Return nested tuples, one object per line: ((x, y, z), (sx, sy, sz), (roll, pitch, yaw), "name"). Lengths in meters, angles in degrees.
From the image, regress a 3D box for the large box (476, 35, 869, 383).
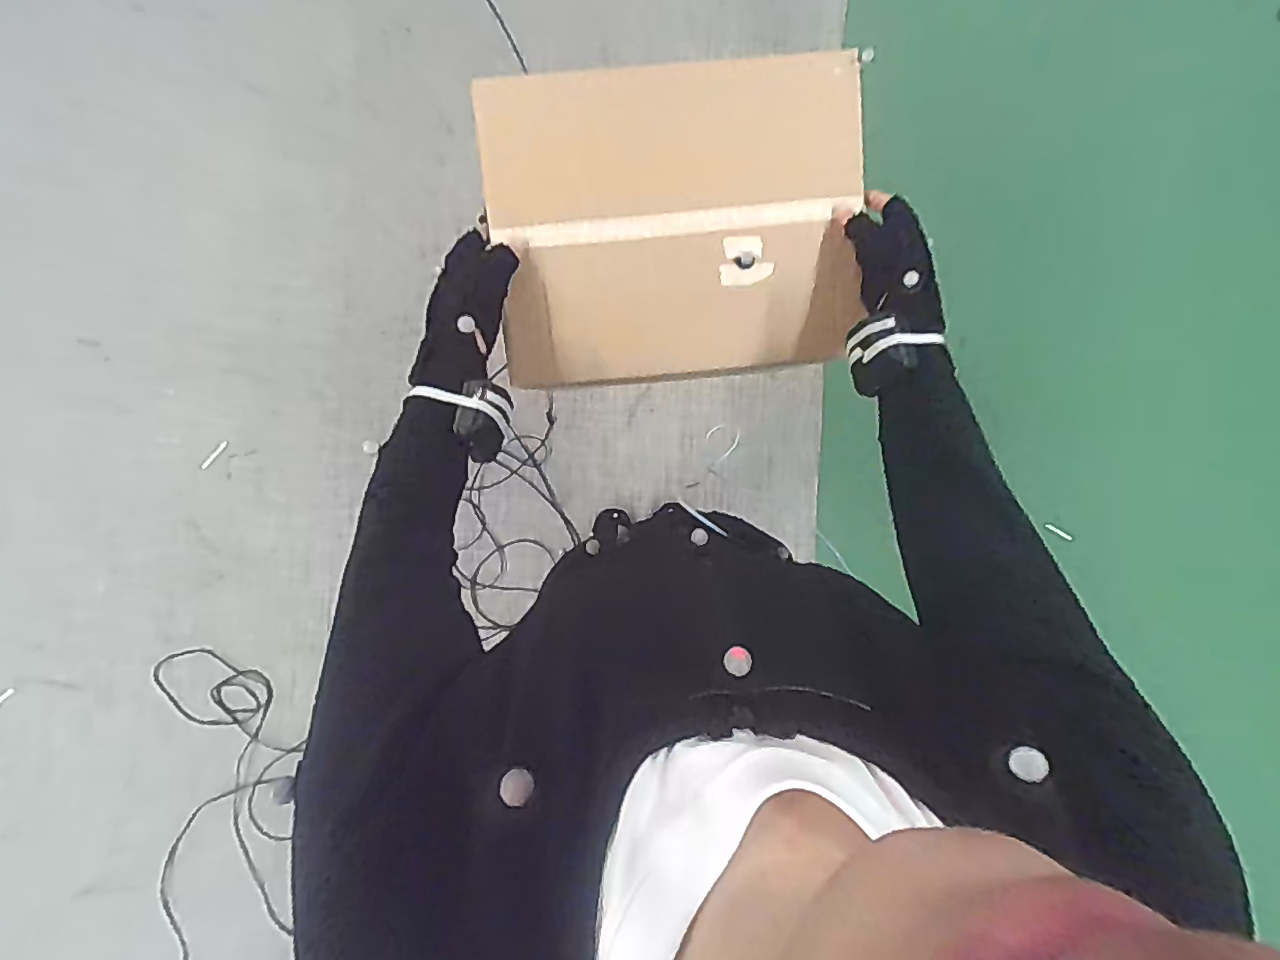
((0.035, -0.312, 0.726), (0.408, 0.320, 0.320), (-6, 99, -2), "large box")
